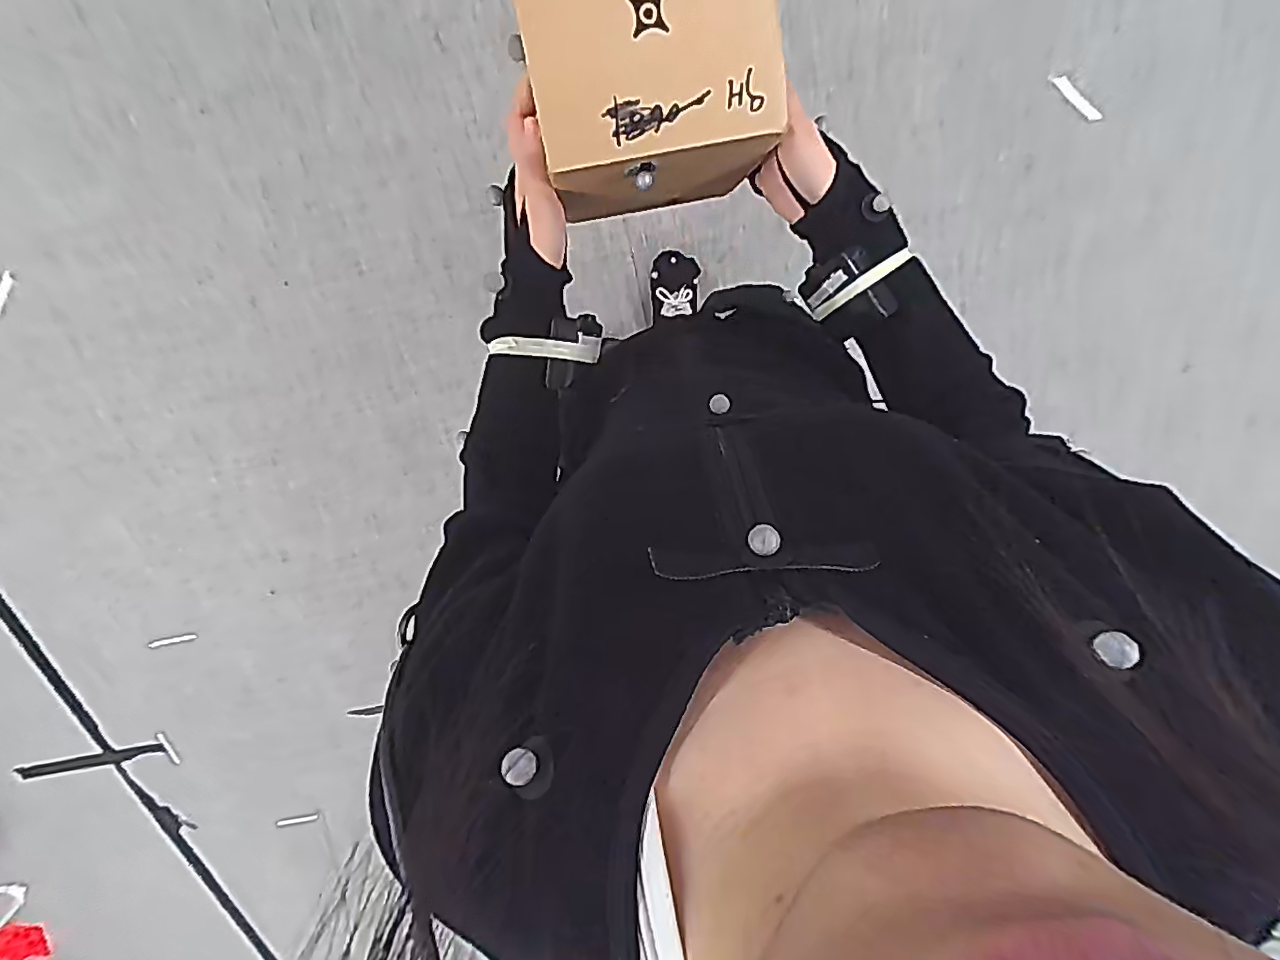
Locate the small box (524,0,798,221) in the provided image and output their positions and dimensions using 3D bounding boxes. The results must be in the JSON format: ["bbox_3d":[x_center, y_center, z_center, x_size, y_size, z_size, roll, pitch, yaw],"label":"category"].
[{"bbox_3d":[0.004,-0.320,0.412,0.168,0.176,0.179,-11,105,-2],"label":"small box"}]
